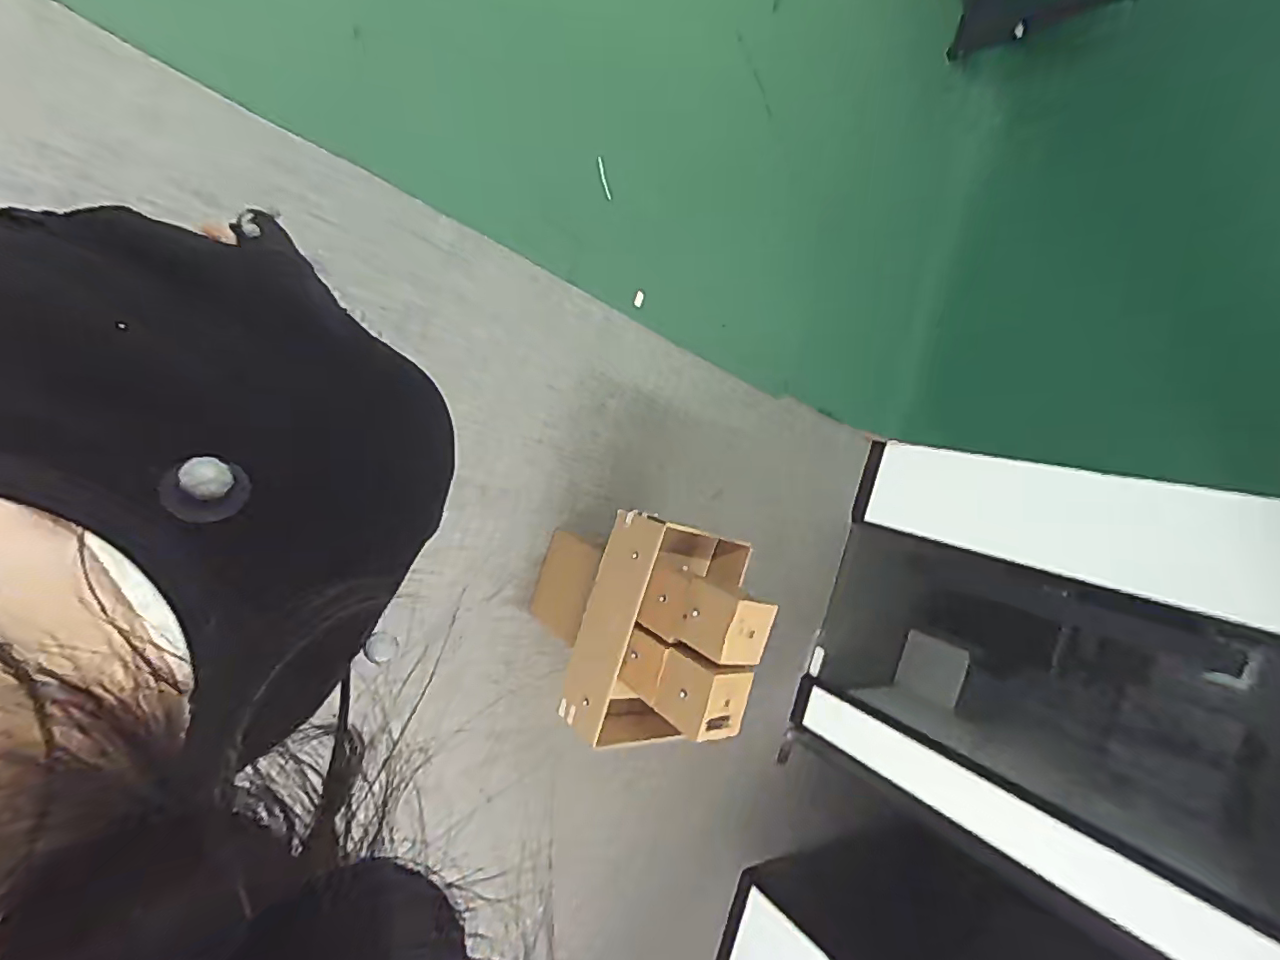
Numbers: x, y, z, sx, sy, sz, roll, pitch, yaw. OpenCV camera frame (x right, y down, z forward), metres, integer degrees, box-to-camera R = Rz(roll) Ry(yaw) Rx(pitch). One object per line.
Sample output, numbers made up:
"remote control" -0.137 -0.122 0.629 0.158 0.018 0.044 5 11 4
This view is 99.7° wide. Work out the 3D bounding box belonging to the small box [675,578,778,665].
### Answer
"small box" 0.225 0.368 1.418 0.179 0.176 0.168 19 89 -41
